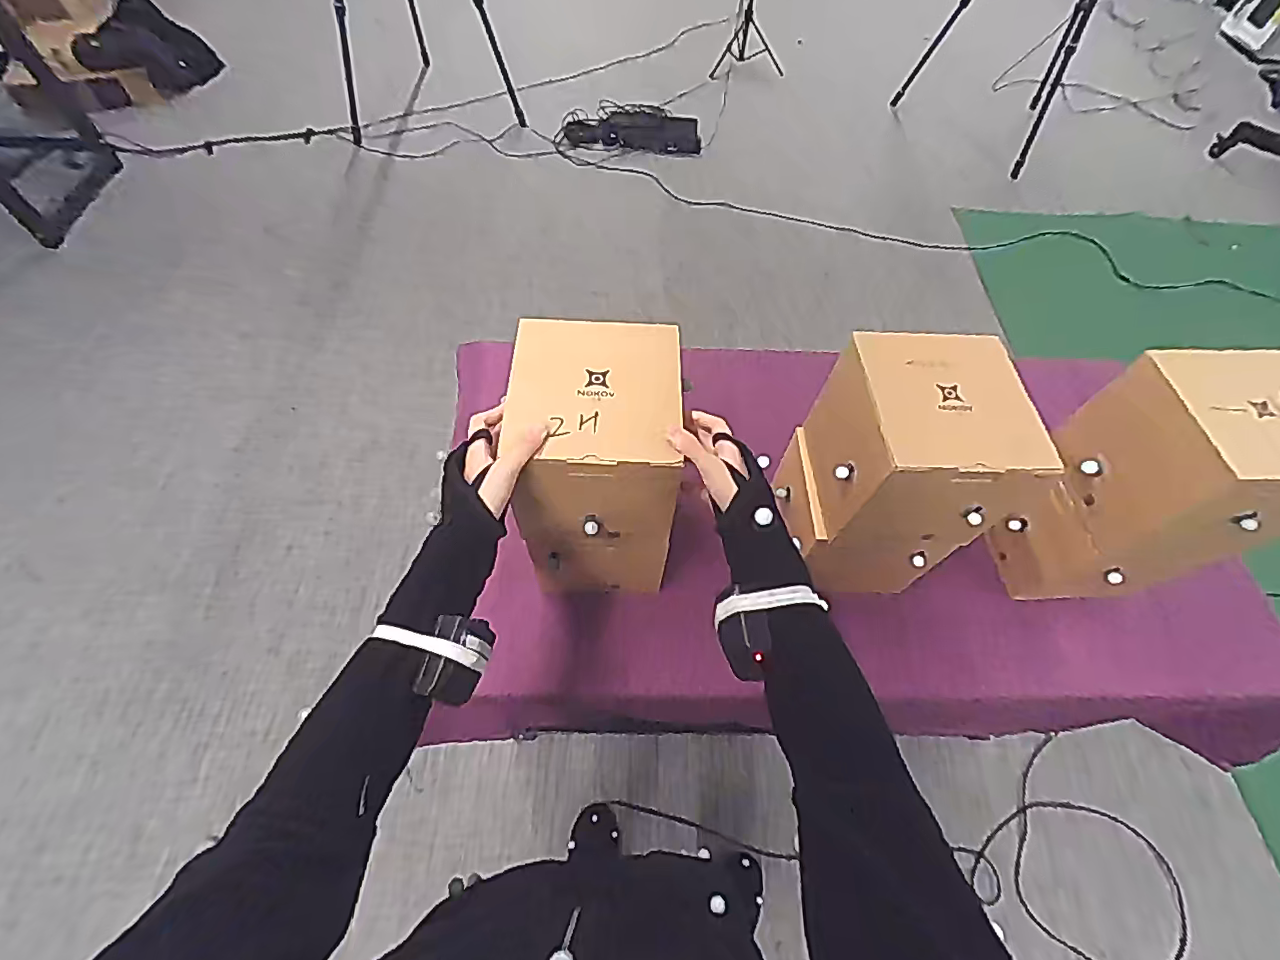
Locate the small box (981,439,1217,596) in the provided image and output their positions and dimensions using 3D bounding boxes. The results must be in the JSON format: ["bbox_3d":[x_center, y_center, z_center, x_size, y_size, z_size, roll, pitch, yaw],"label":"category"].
[{"bbox_3d":[0.611,0.055,0.751,0.179,0.176,0.168,-1,58,-3],"label":"small box"}]

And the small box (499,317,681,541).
[{"bbox_3d":[-0.047,-0.051,0.590,0.168,0.176,0.179,2,58,-2],"label":"small box"}]

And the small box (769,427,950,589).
[{"bbox_3d":[0.284,0.044,0.745,0.179,0.176,0.168,2,58,-2],"label":"small box"}]

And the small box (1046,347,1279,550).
[{"bbox_3d":[0.617,-0.029,0.610,0.179,0.176,0.168,0,58,-3],"label":"small box"}]

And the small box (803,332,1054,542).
[{"bbox_3d":[0.298,-0.041,0.607,0.168,0.176,0.179,1,57,-4],"label":"small box"}]
